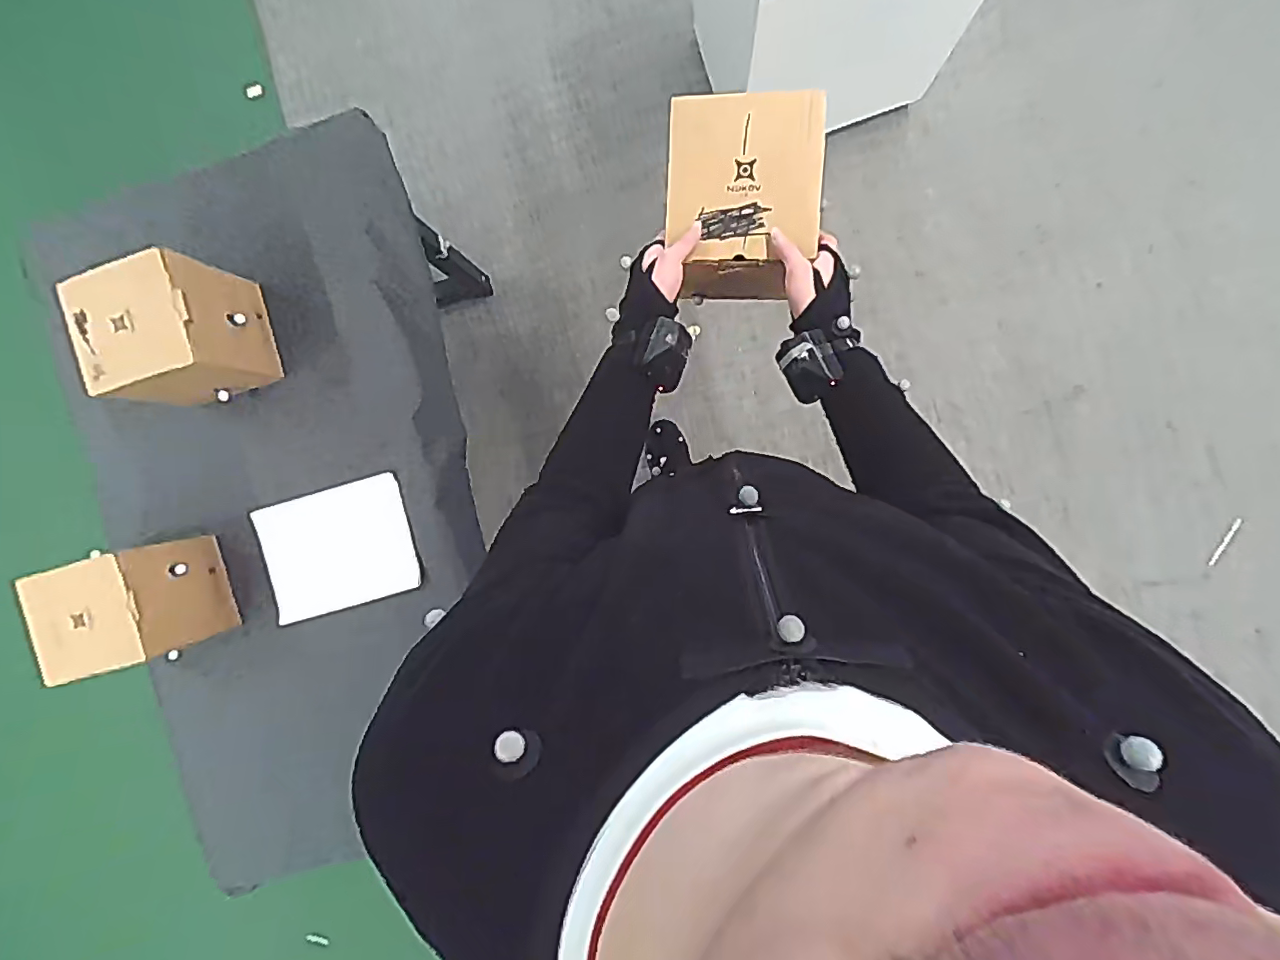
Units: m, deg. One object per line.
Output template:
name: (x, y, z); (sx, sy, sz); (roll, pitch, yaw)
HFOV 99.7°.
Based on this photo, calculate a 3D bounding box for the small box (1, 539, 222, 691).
small box: (-0.802, 0.199, 0.845); (0.179, 0.176, 0.168); (-16, 90, 7)

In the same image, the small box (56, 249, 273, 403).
small box: (-0.704, -0.222, 0.828); (0.179, 0.176, 0.168); (-15, 91, 5)

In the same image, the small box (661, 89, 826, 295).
small box: (0.121, -0.332, 0.659); (0.168, 0.176, 0.179); (4, 95, 8)
